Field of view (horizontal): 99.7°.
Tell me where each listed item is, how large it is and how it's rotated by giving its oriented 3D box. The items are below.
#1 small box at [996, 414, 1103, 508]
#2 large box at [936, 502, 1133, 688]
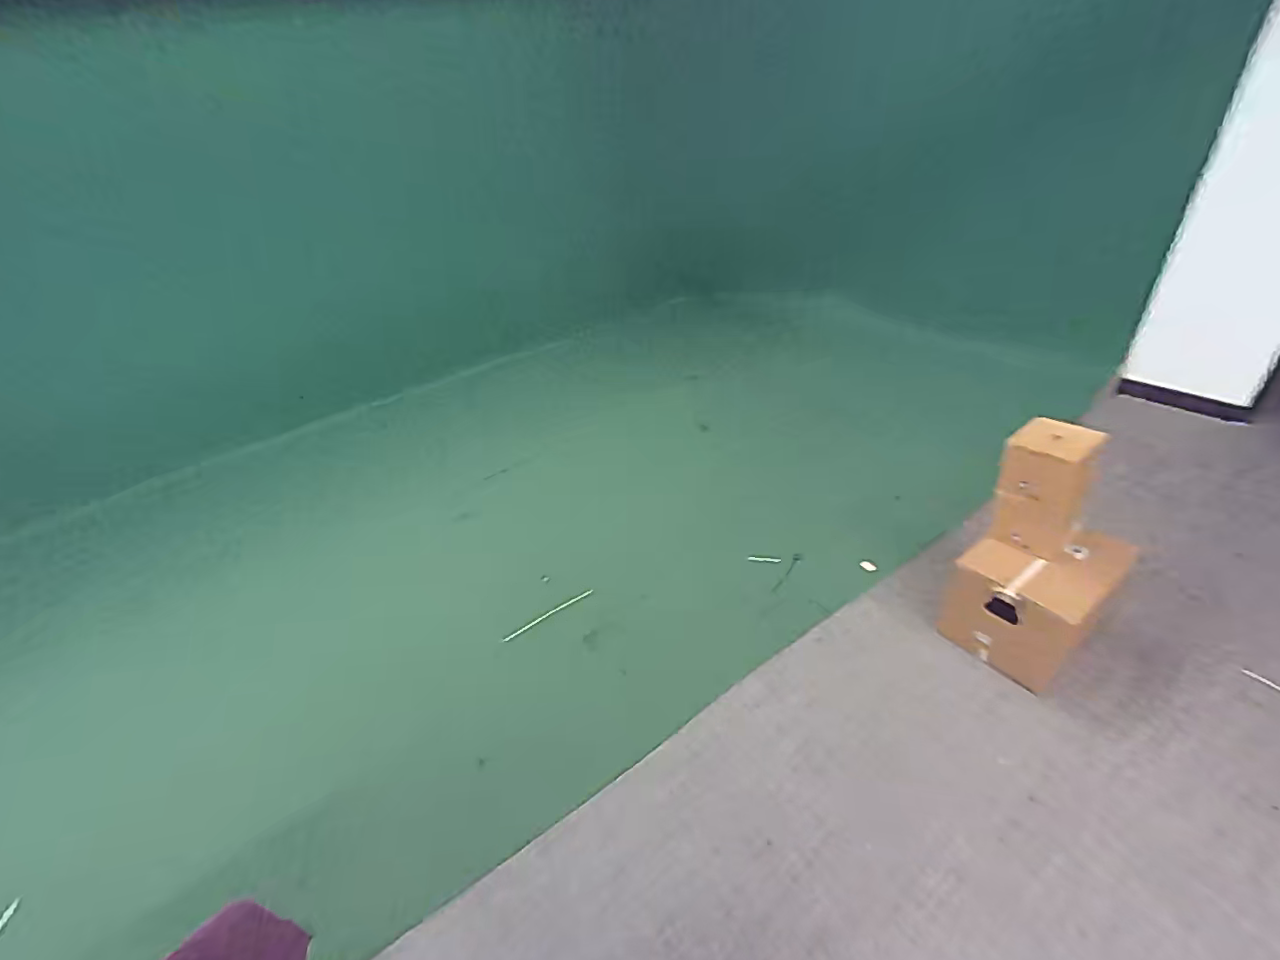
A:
[{"bbox_3d":[1.109,-0.054,1.478,0.179,0.176,0.168,-29,37,-23],"label":"small box"},{"bbox_3d":[1.168,0.333,1.631,0.408,0.320,0.320,-27,39,-24],"label":"large box"}]
